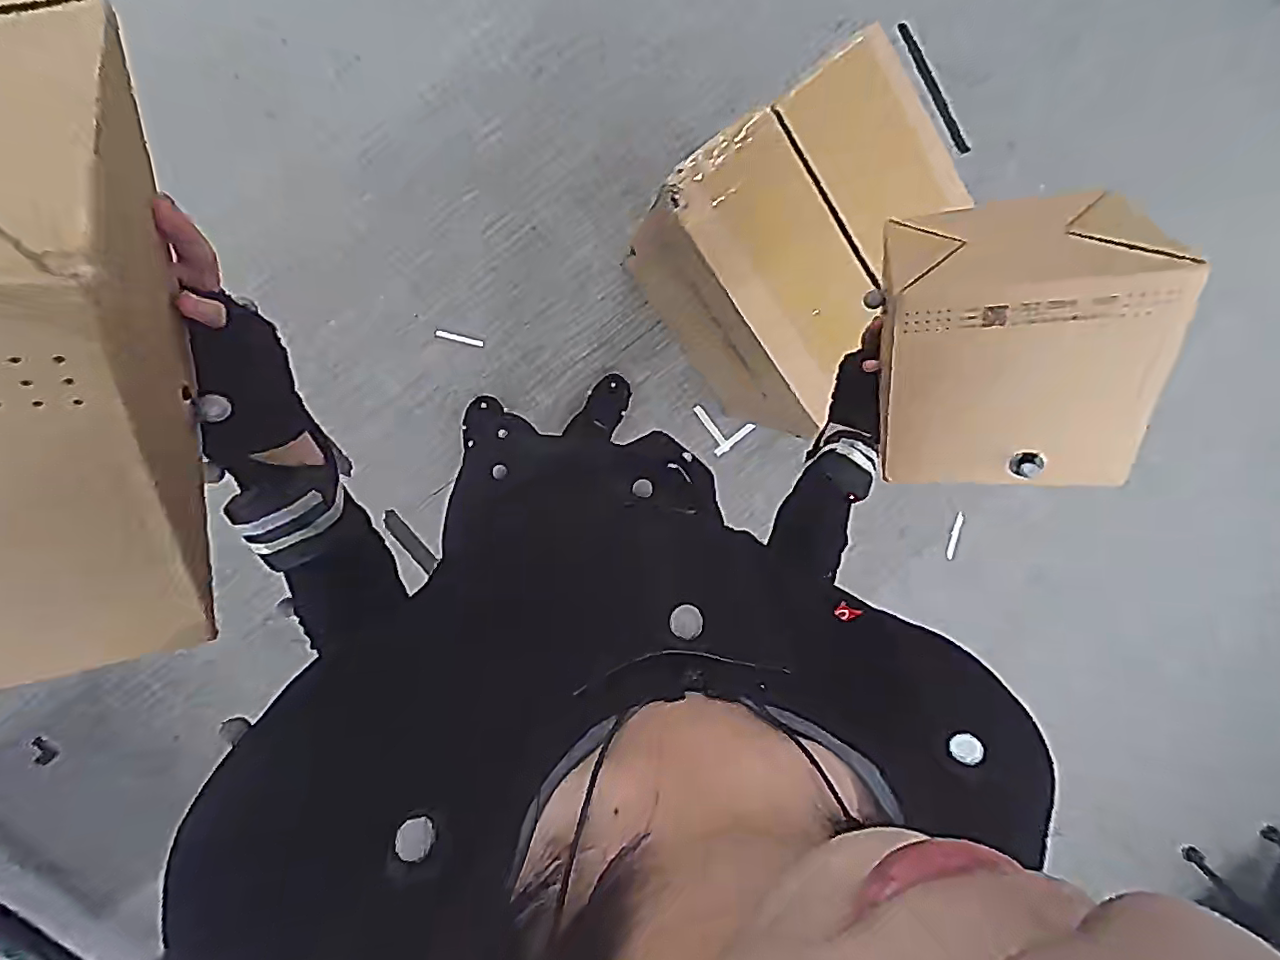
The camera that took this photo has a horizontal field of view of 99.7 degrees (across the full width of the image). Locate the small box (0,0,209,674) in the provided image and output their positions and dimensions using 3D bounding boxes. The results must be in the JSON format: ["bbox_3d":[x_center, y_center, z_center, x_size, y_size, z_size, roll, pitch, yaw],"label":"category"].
[{"bbox_3d":[-0.248,-0.047,0.156,0.168,0.179,0.176,-10,145,-32],"label":"small box"}]

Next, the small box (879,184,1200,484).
[{"bbox_3d":[0.286,-0.117,0.434,0.168,0.179,0.176,1,131,22],"label":"small box"}]
